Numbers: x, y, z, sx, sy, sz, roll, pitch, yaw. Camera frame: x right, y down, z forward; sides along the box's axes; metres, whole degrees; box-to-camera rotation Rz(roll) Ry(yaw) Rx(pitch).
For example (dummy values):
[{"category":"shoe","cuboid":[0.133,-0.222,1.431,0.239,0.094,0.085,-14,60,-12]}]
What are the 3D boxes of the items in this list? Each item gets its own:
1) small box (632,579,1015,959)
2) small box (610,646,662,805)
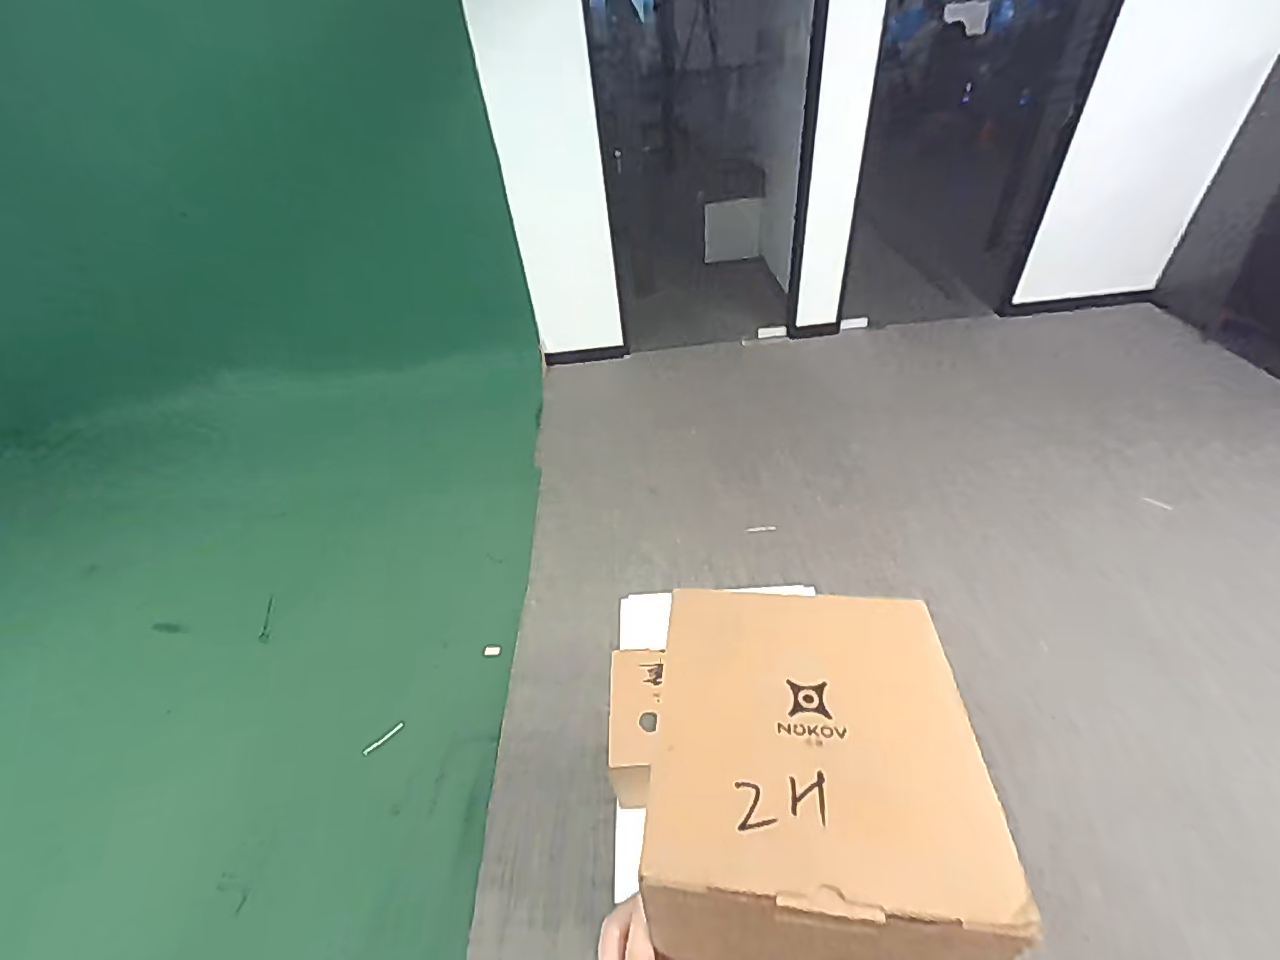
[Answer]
[{"category":"small box","cuboid":[0.095,0.189,0.349,0.168,0.176,0.179,1,37,10]},{"category":"small box","cuboid":[0.046,0.376,0.835,0.168,0.176,0.179,-4,42,3]}]
